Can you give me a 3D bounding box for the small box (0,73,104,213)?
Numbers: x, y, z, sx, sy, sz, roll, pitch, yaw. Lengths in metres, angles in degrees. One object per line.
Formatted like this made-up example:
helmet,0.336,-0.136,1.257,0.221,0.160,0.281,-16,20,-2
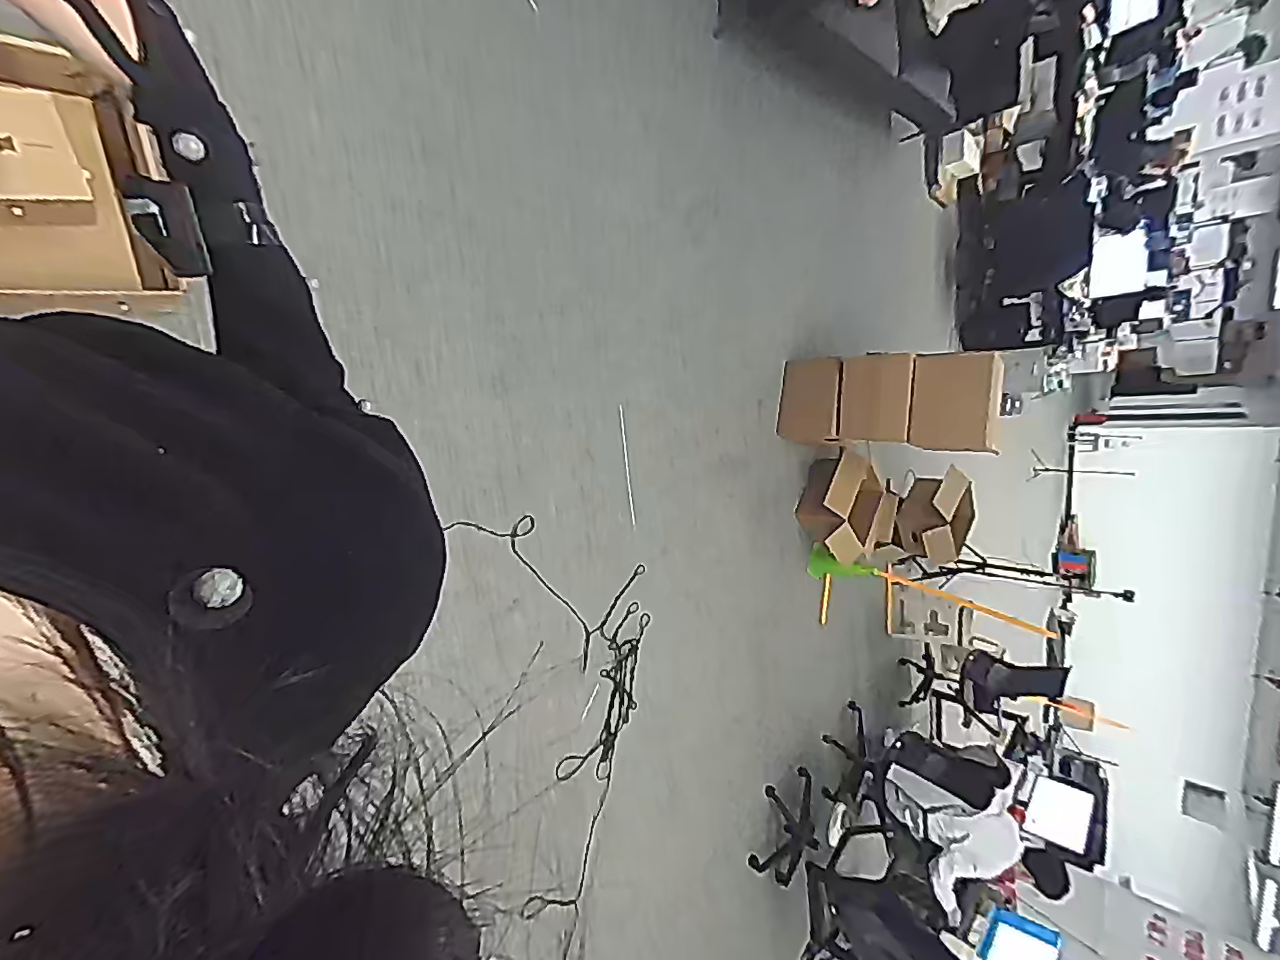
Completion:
small box,-1.052,-0.558,0.910,0.179,0.176,0.168,-24,112,-40
